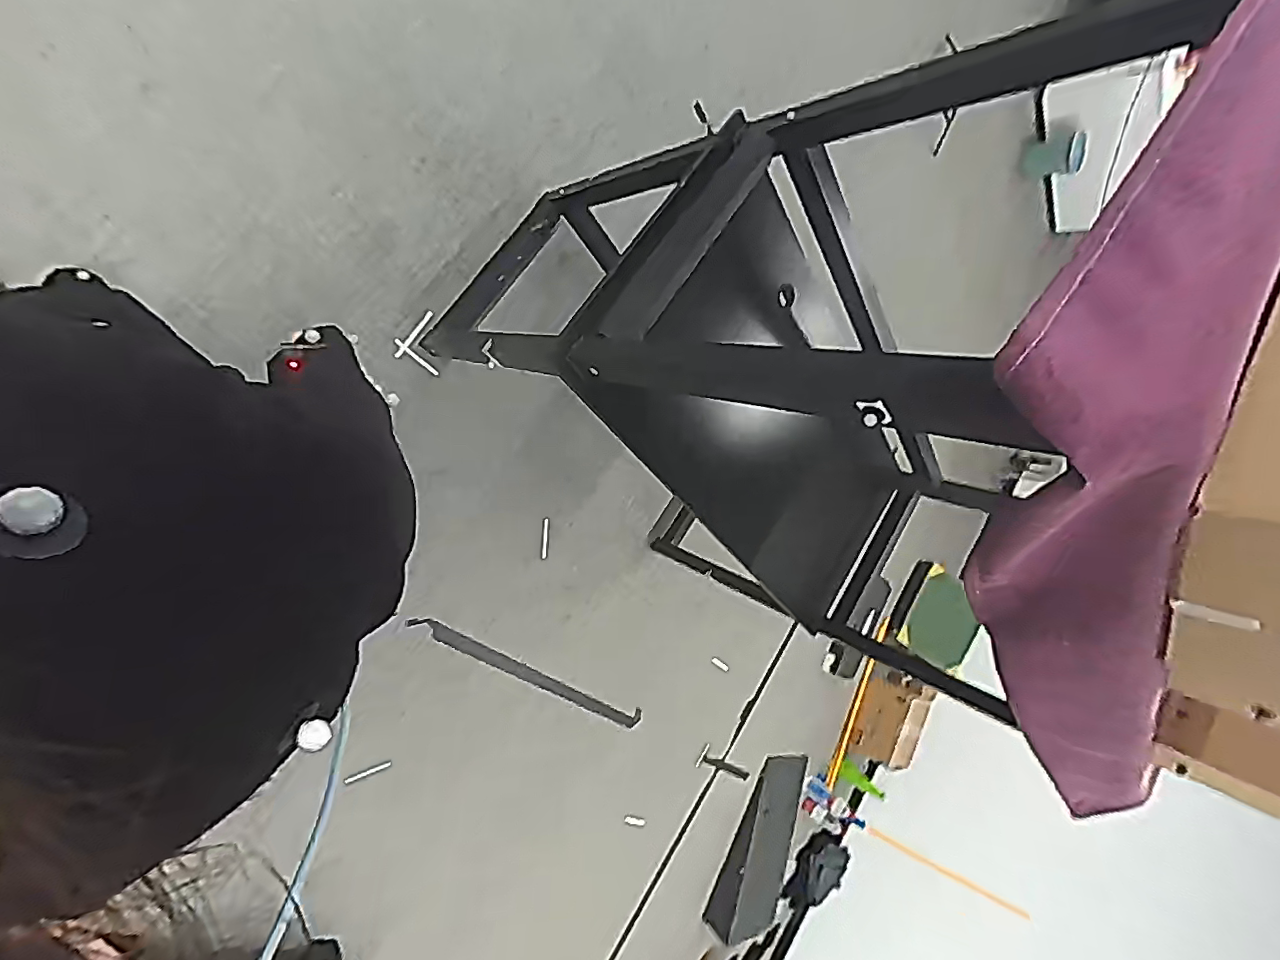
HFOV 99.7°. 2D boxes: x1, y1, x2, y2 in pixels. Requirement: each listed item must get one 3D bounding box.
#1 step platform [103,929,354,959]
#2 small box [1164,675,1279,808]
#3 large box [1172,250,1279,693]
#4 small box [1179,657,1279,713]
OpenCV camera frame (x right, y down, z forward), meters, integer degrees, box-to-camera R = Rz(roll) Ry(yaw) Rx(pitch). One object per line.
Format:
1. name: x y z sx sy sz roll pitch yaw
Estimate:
1. step platform: -1.076 1.406 1.392 0.286 0.204 0.684 -52 130 -16
2. small box: 0.982 0.401 0.873 0.179 0.176 0.168 42 74 -39
3. large box: 0.665 -0.027 0.400 0.408 0.320 0.320 -55 130 -14
4. small box: 0.791 0.179 0.654 0.179 0.176 0.168 45 73 -38
